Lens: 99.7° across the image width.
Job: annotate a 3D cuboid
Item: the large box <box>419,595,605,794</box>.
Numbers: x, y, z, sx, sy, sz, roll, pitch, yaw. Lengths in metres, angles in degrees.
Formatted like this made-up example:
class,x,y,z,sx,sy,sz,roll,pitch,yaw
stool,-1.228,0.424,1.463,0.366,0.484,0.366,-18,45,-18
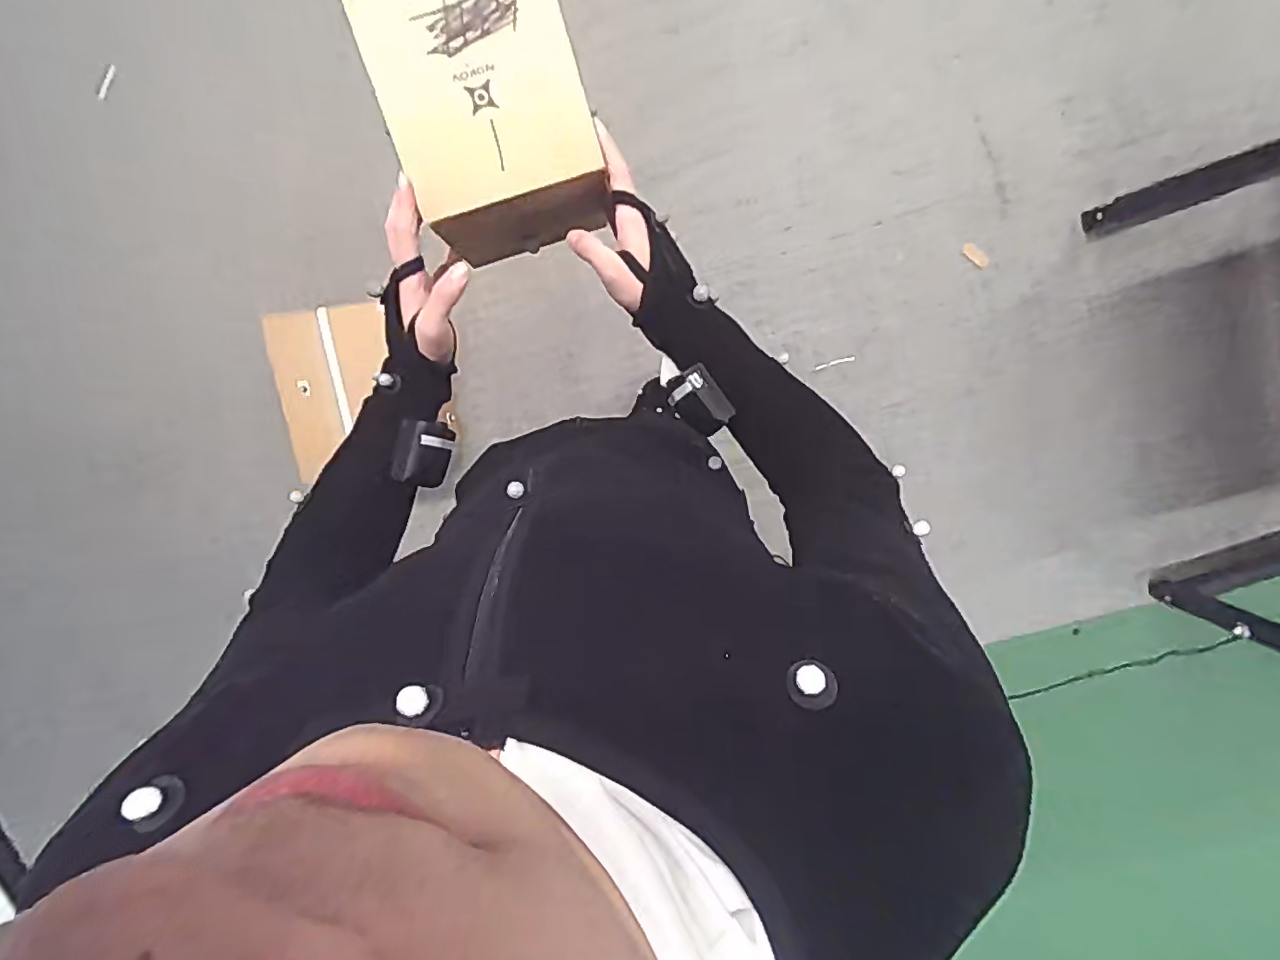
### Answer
class,x,y,z,sx,sy,sz,roll,pitch,yaw
large box,-0.358,0.621,1.619,0.408,0.320,0.320,39,100,-7

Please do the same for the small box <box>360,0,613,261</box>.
class,x,y,z,sx,sy,sz,roll,pitch,yaw
small box,-0.129,-0.339,0.526,0.168,0.176,0.179,-17,100,1
